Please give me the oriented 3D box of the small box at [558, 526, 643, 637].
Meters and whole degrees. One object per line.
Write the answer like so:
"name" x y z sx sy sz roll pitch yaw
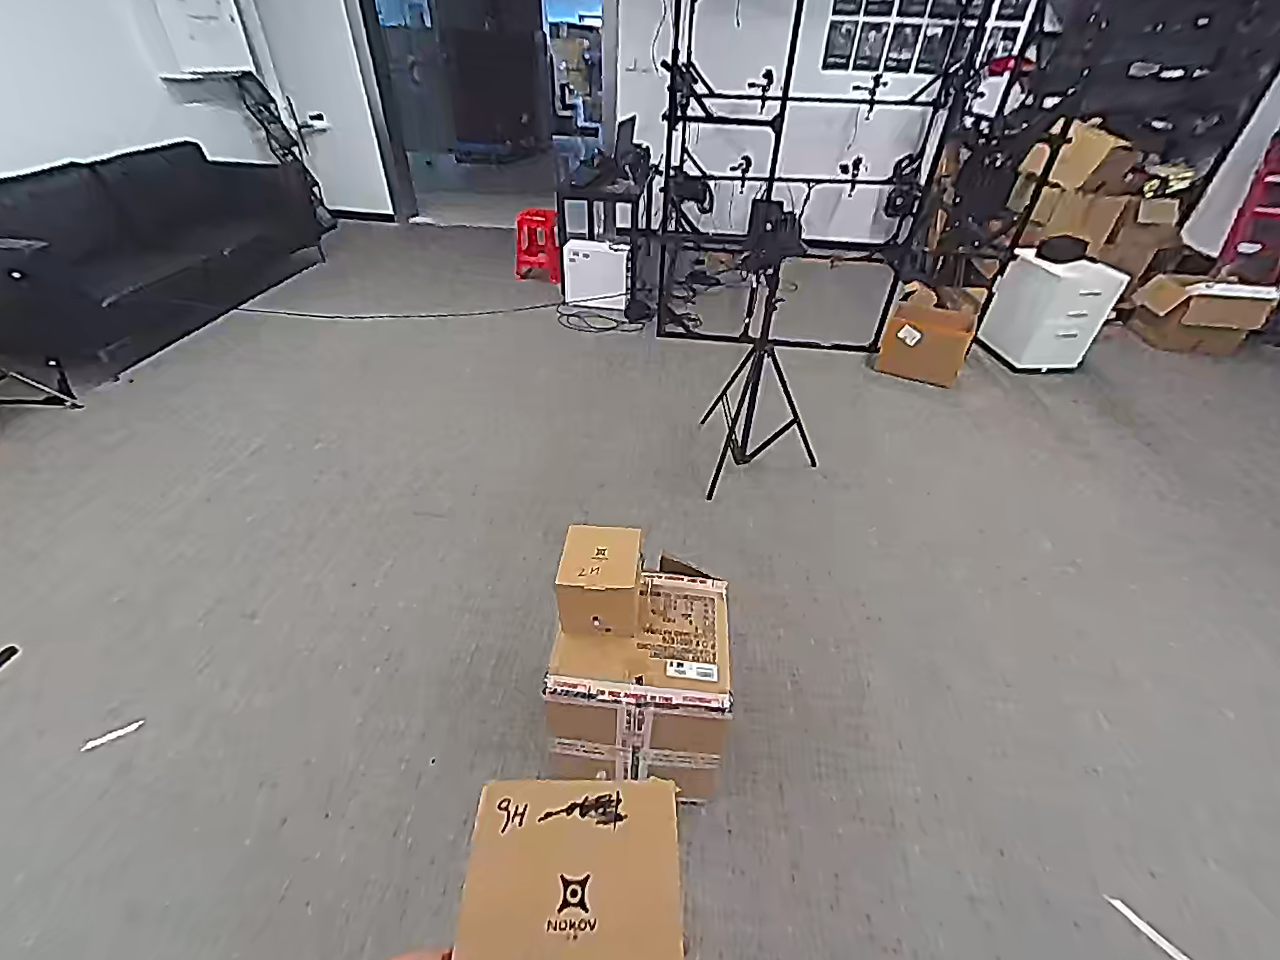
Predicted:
"small box" -0.082 0.226 1.216 0.168 0.176 0.179 2 41 4
